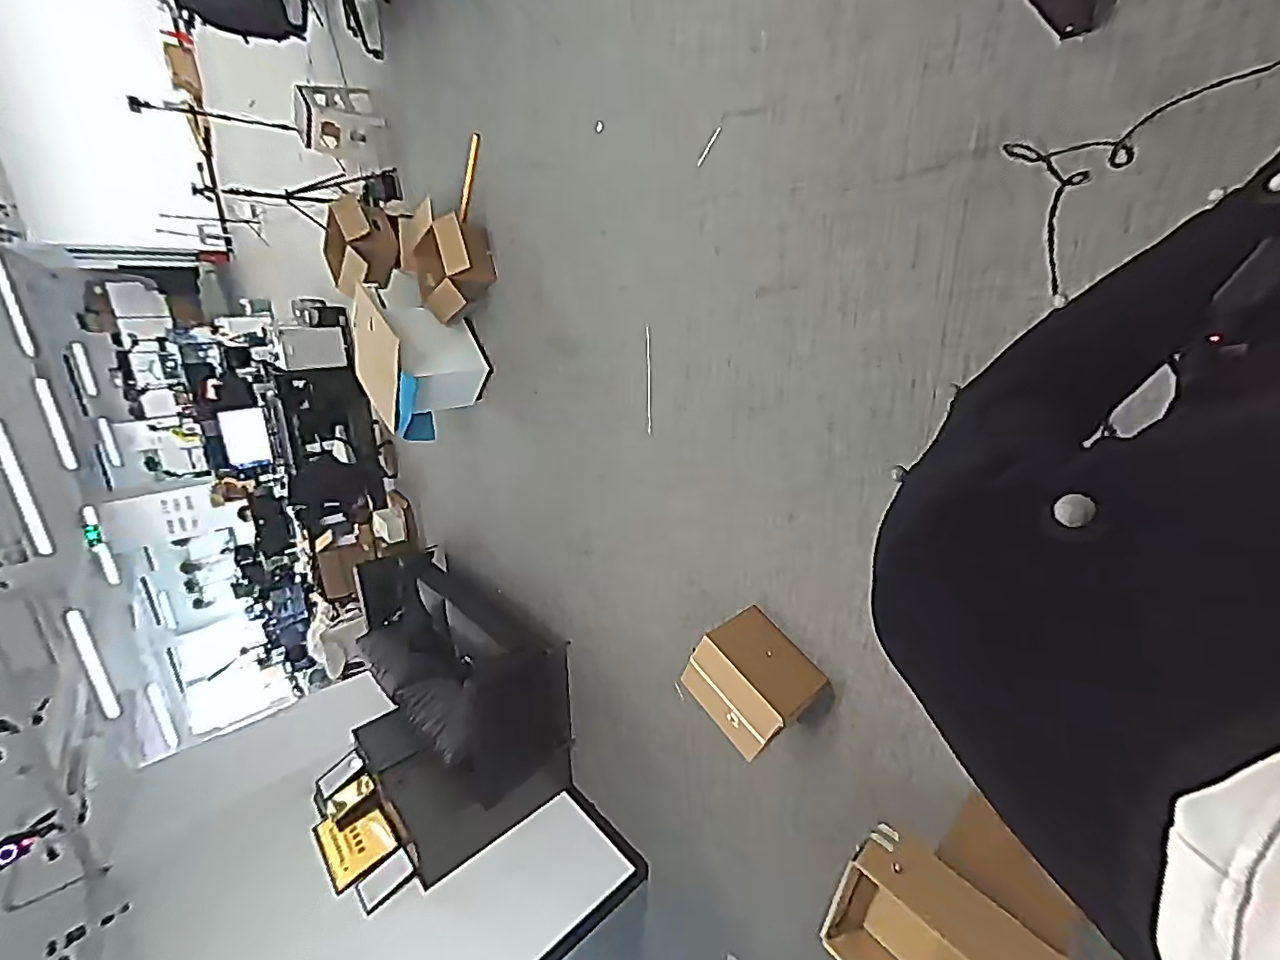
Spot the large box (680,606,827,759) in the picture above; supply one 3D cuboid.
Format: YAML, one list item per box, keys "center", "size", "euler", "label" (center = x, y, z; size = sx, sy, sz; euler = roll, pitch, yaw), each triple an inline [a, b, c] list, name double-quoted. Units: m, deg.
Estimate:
- center: [0.436, 0.777, 2.123]
  size: [0.408, 0.320, 0.320]
  euler: [43, 132, 30]
  label: "large box"
